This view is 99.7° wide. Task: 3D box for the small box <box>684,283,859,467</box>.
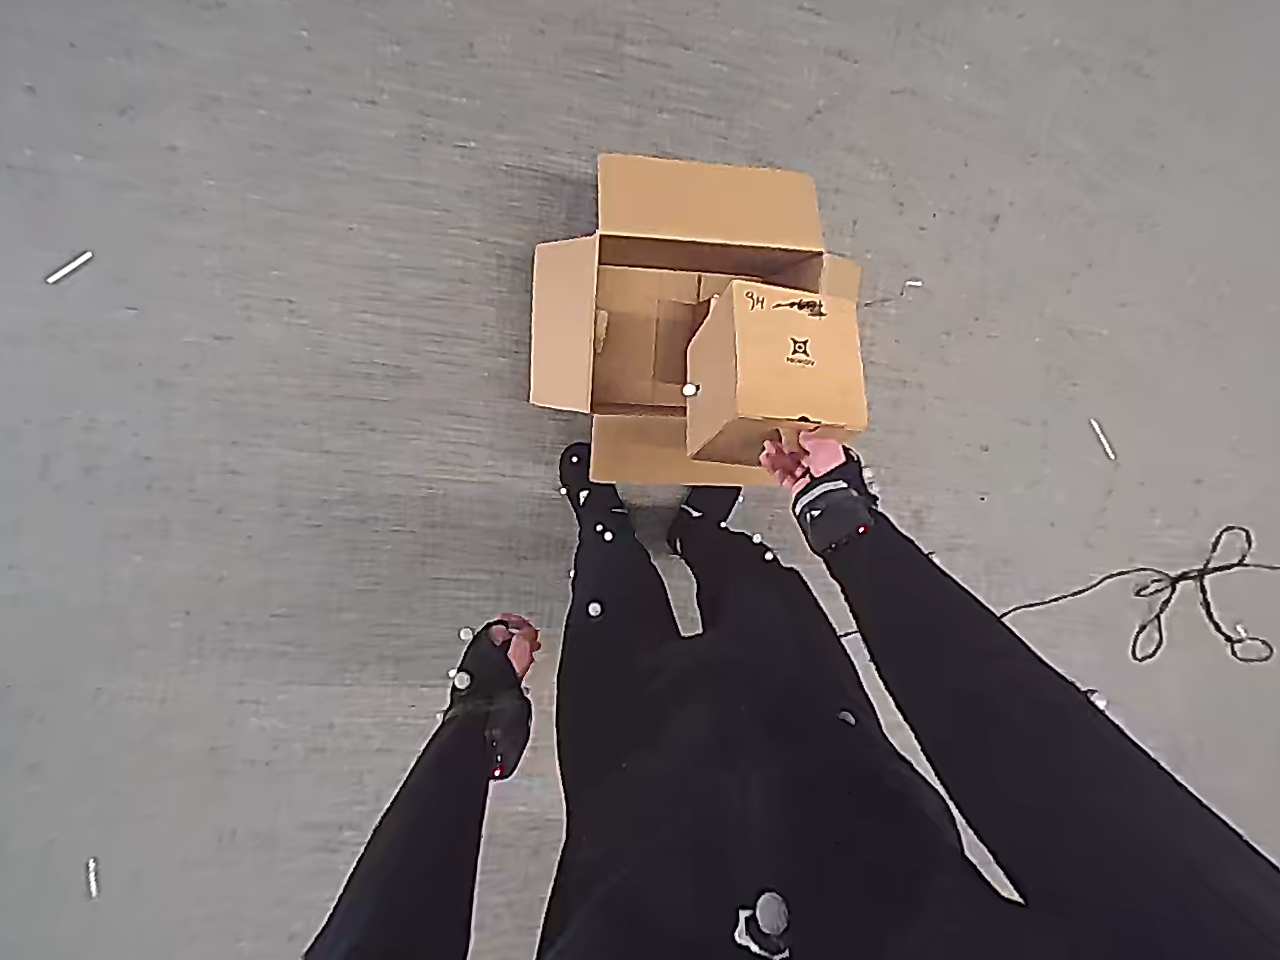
[{"bbox_3d":[0.162,-0.124,0.713,0.168,0.176,0.179,6,73,-13],"label":"small box"}]
